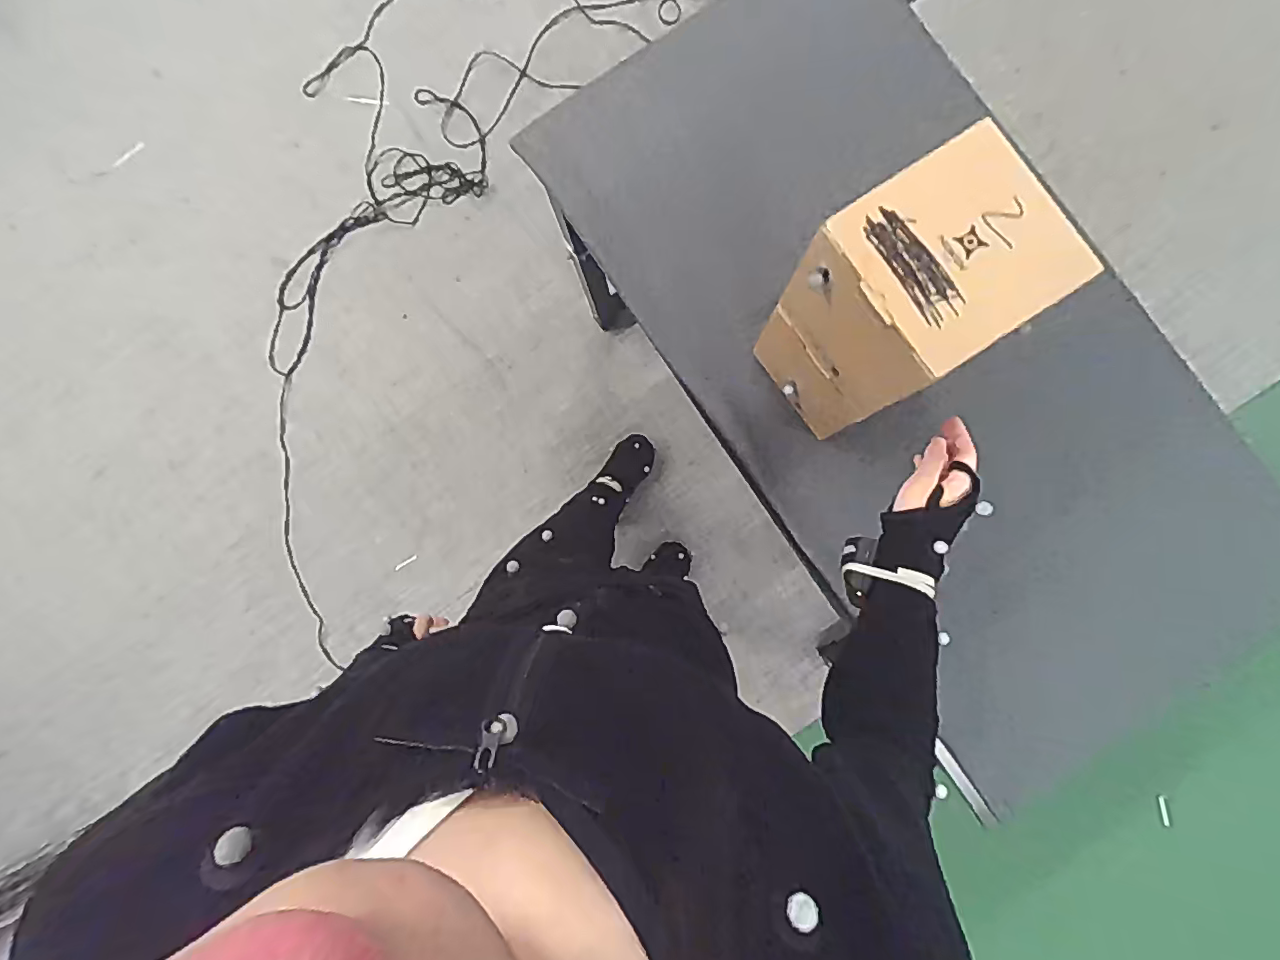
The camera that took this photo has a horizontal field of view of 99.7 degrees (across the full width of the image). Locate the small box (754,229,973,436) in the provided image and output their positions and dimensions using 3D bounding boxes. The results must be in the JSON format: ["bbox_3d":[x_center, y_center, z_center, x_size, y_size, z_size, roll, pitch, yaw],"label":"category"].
[{"bbox_3d":[0.274,-0.179,0.709,0.179,0.176,0.168,-36,85,-1],"label":"small box"}]
